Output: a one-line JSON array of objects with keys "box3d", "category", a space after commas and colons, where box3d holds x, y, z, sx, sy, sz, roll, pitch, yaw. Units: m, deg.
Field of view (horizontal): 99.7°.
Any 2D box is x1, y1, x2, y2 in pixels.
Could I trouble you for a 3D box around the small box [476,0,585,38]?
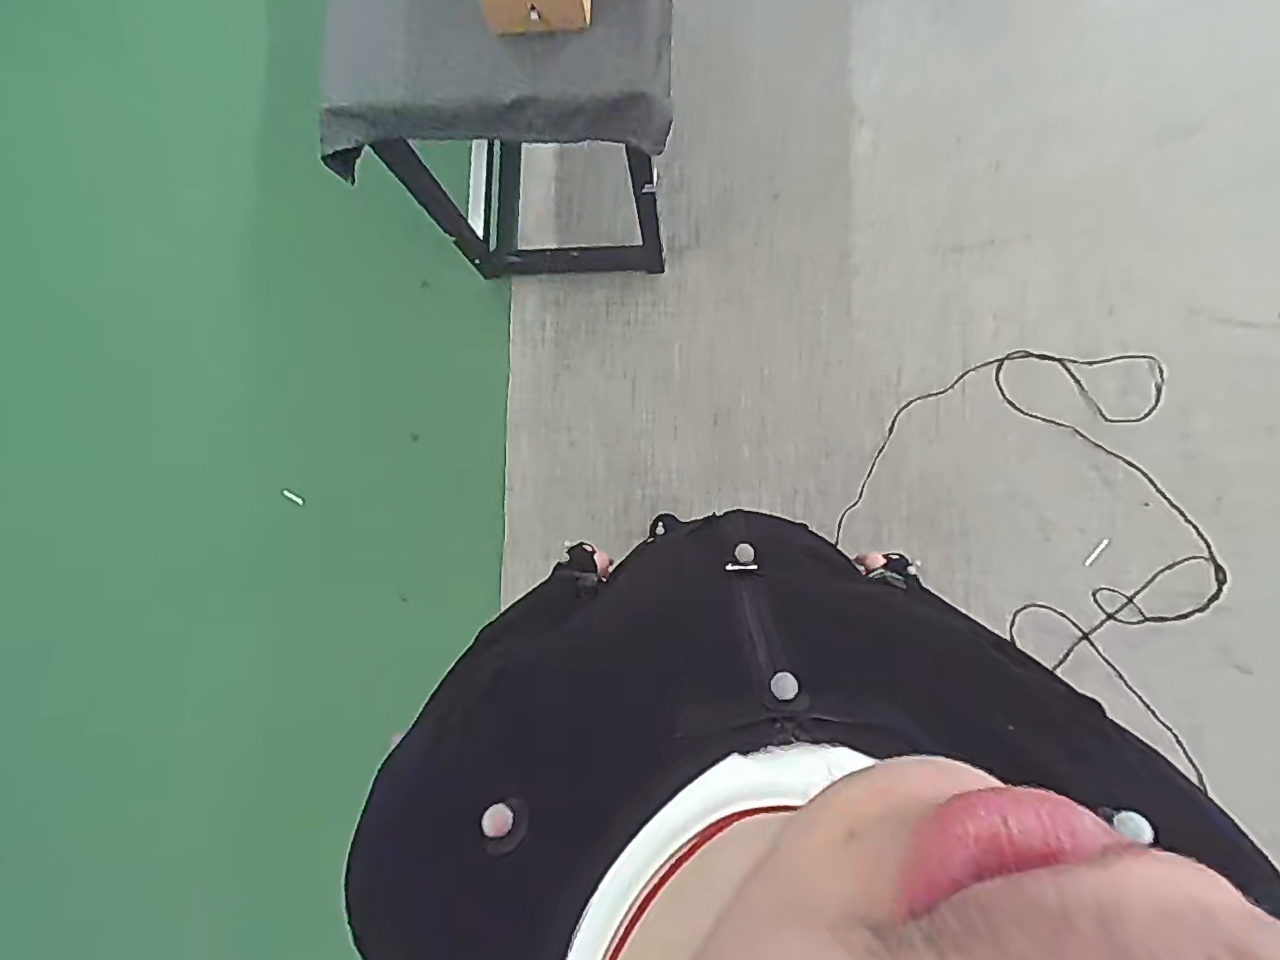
[{"box3d": [-0.183, -0.866, 0.879, 0.179, 0.176, 0.168, 2, 85, 6], "category": "small box"}]
